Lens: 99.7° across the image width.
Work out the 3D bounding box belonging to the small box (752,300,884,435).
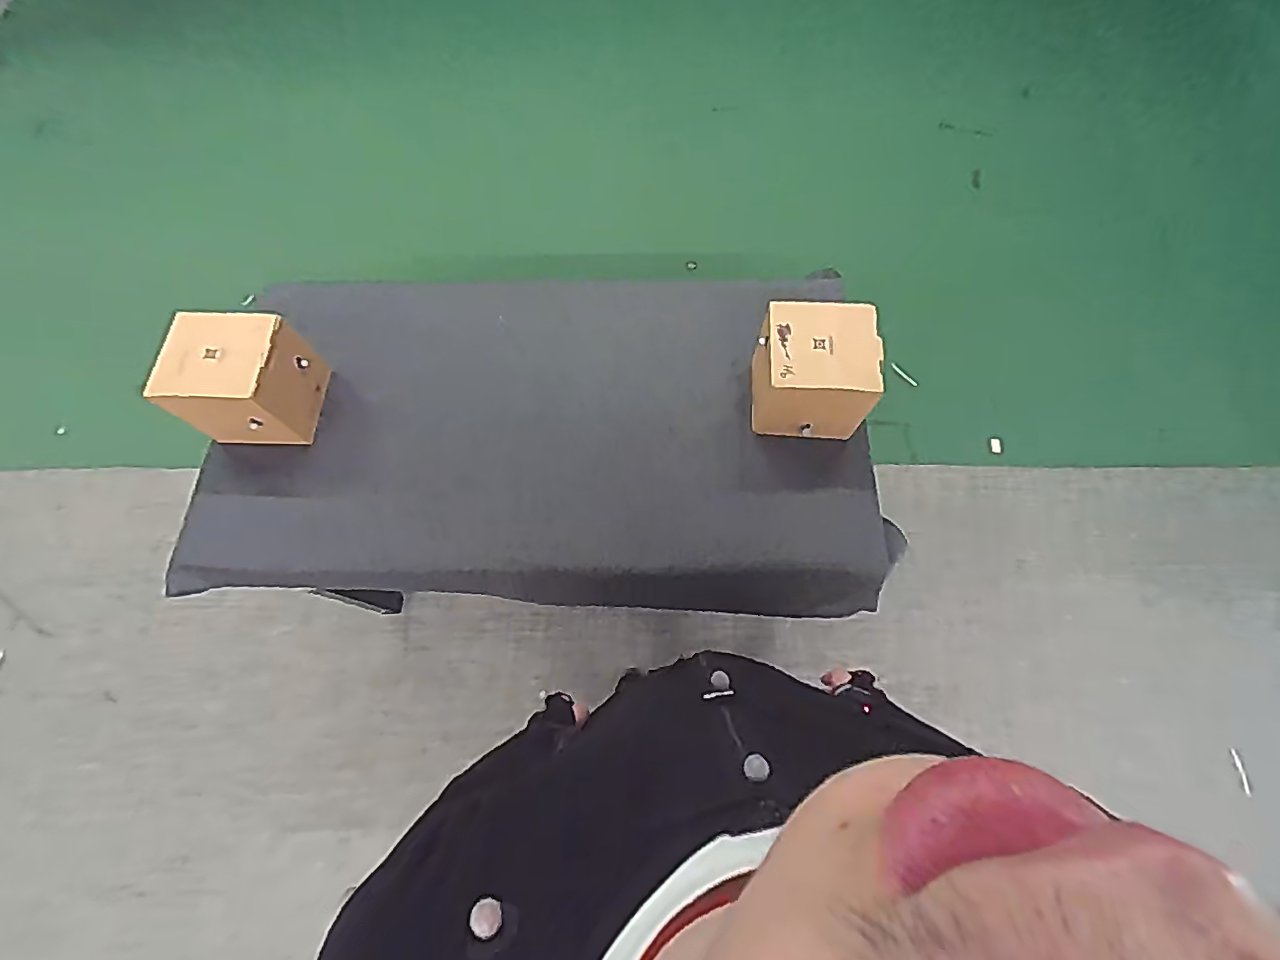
[{"bbox_3d":[0.298,-0.188,0.940,0.179,0.176,0.168,4,69,2],"label":"small box"}]

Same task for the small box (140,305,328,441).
[{"bbox_3d":[-0.681,-0.178,0.936,0.179,0.176,0.168,3,66,2],"label":"small box"}]
